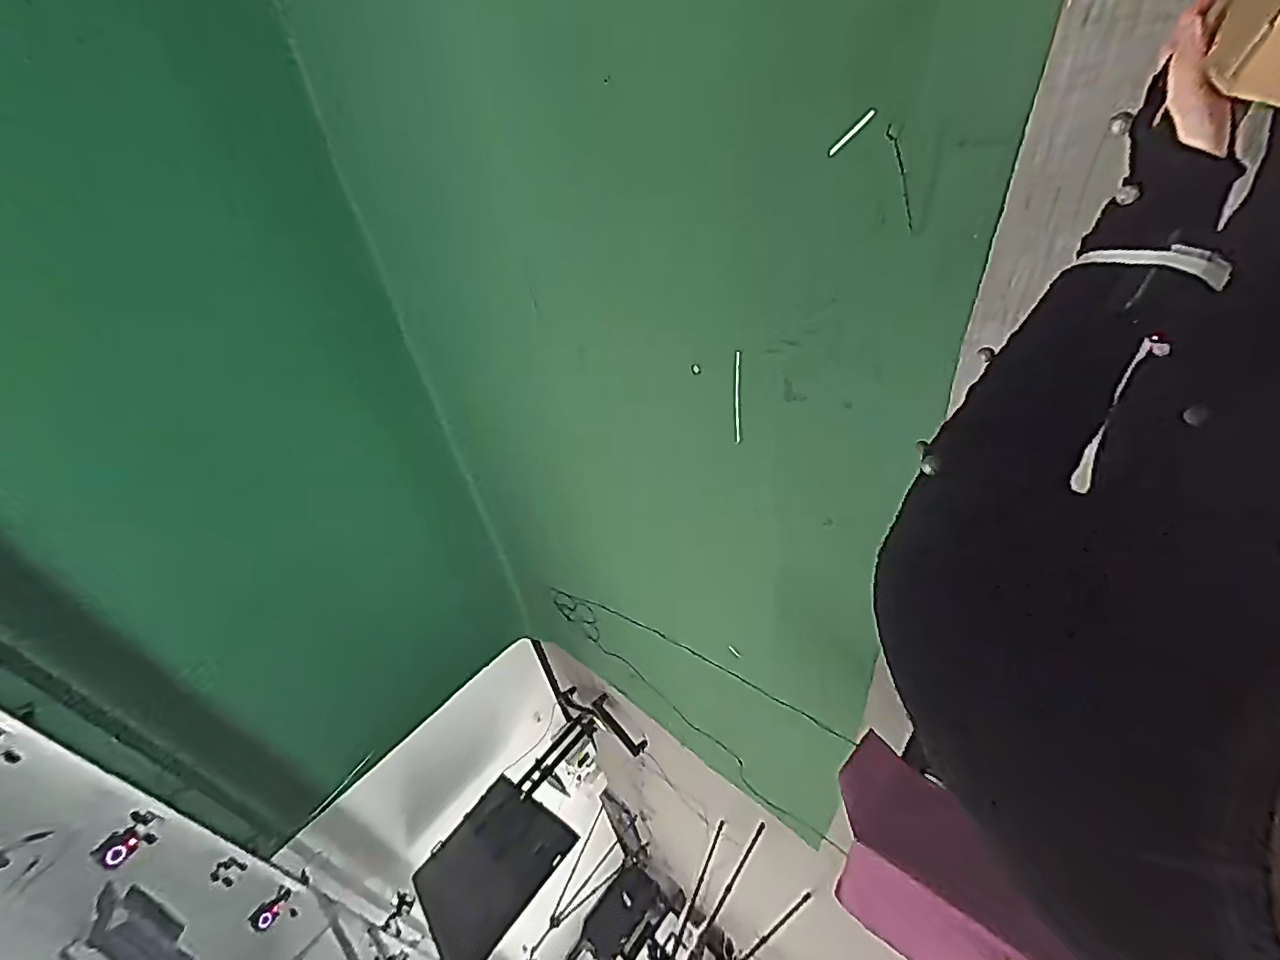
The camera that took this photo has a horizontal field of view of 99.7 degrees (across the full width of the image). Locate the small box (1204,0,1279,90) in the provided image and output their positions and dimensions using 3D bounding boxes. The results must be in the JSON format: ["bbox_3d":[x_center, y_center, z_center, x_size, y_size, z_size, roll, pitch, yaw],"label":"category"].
[{"bbox_3d":[0.446,-0.296,0.268,0.179,0.176,0.168,25,145,13],"label":"small box"}]

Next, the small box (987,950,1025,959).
[{"bbox_3d":[0.899,1.255,1.266,0.168,0.176,0.179,25,140,34],"label":"small box"}]
